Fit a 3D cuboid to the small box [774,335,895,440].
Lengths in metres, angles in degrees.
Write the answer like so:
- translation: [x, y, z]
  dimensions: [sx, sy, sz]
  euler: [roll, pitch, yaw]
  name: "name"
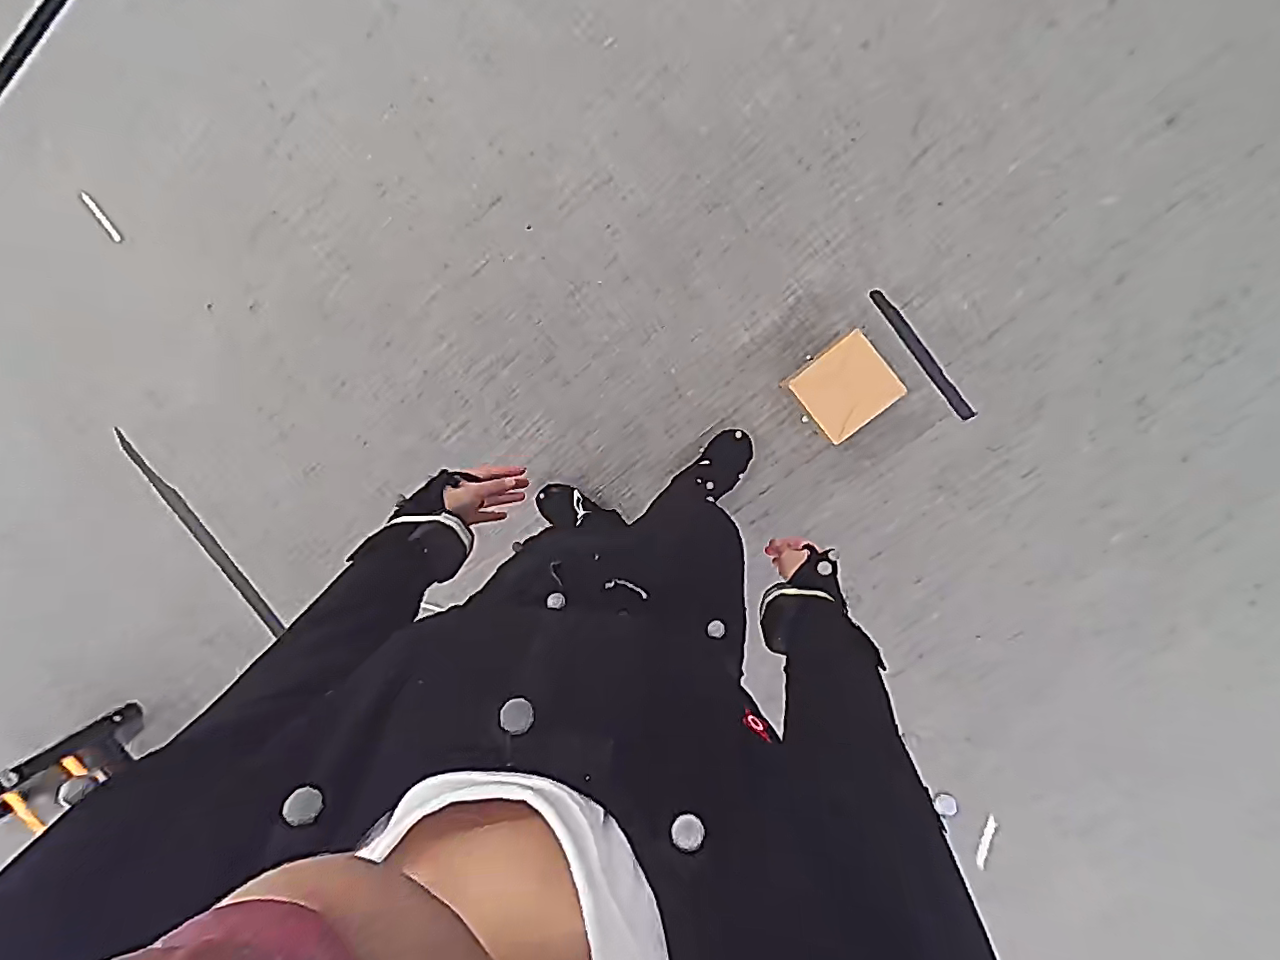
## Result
- translation: [0.423, -0.202, 1.188]
  dimensions: [0.179, 0.176, 0.168]
  euler: [-39, 93, 12]
  name: "small box"
